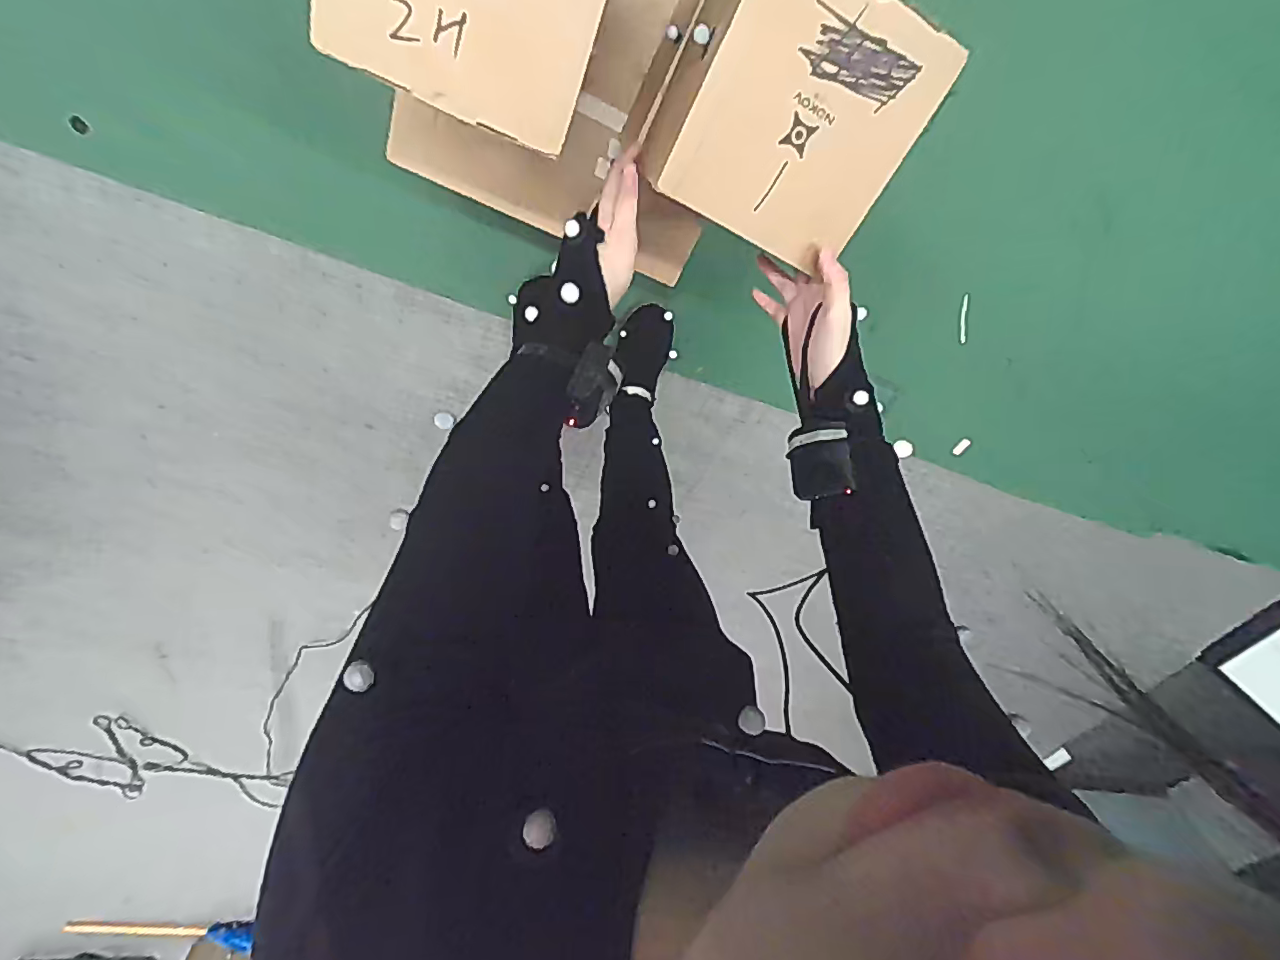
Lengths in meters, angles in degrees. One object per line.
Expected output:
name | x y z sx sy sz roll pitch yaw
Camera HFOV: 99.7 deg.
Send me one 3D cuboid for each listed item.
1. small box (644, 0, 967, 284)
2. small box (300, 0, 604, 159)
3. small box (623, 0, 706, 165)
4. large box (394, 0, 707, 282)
small box | 0.112 -0.303 0.454 0.168 0.176 0.179 20 122 -19
small box | -0.111 -0.363 0.382 0.168 0.176 0.179 16 122 -19
small box | 0.096 -0.399 0.590 0.179 0.176 0.168 22 120 -20
large box | -0.084 -0.539 0.765 0.408 0.320 0.320 16 123 -20
